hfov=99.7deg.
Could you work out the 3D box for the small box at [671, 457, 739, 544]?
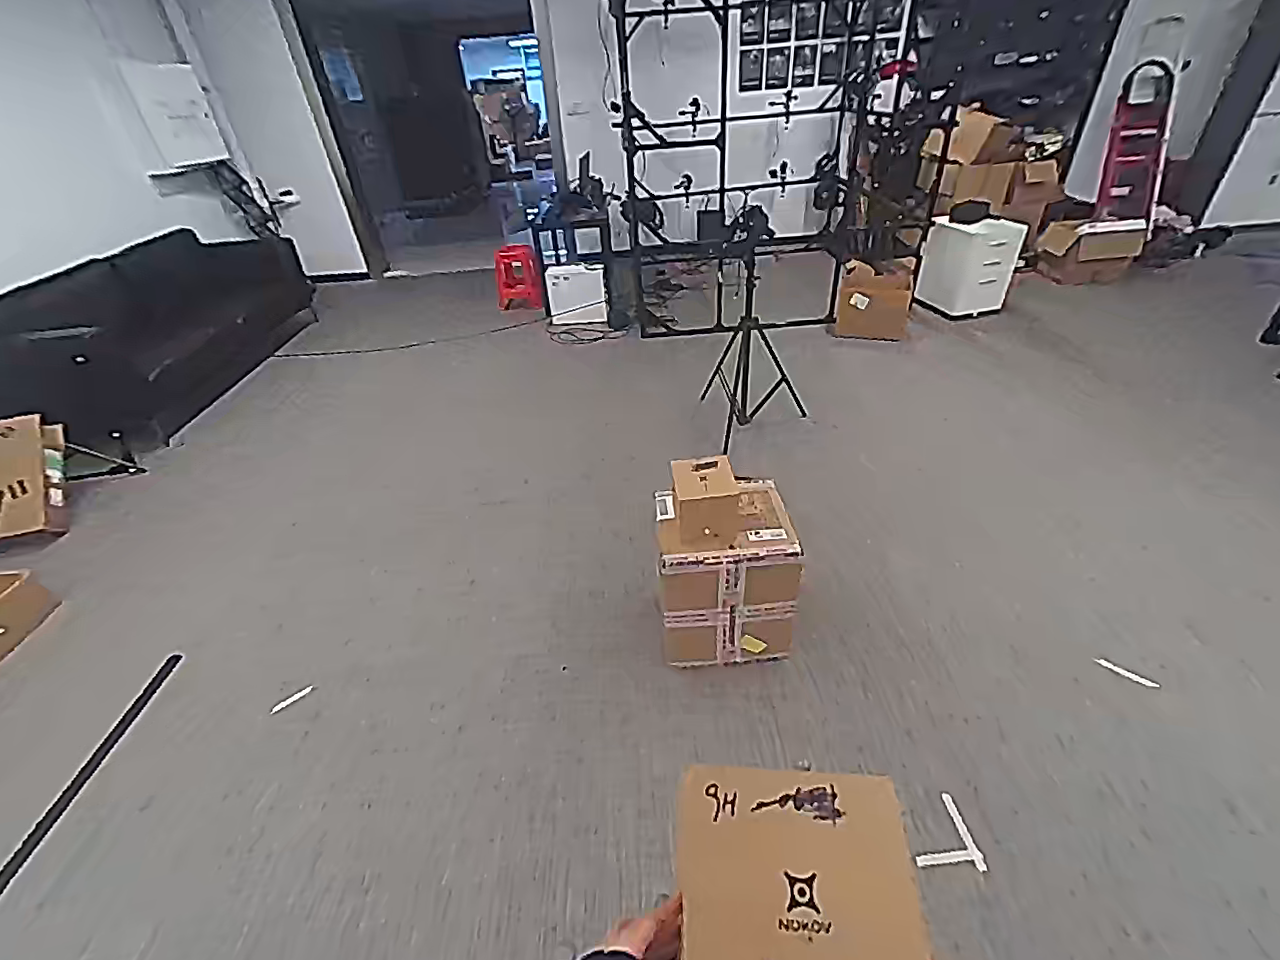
[{"bbox_3d":[0.179,0.059,1.534,0.168,0.176,0.179,-6,40,0],"label":"small box"}]
